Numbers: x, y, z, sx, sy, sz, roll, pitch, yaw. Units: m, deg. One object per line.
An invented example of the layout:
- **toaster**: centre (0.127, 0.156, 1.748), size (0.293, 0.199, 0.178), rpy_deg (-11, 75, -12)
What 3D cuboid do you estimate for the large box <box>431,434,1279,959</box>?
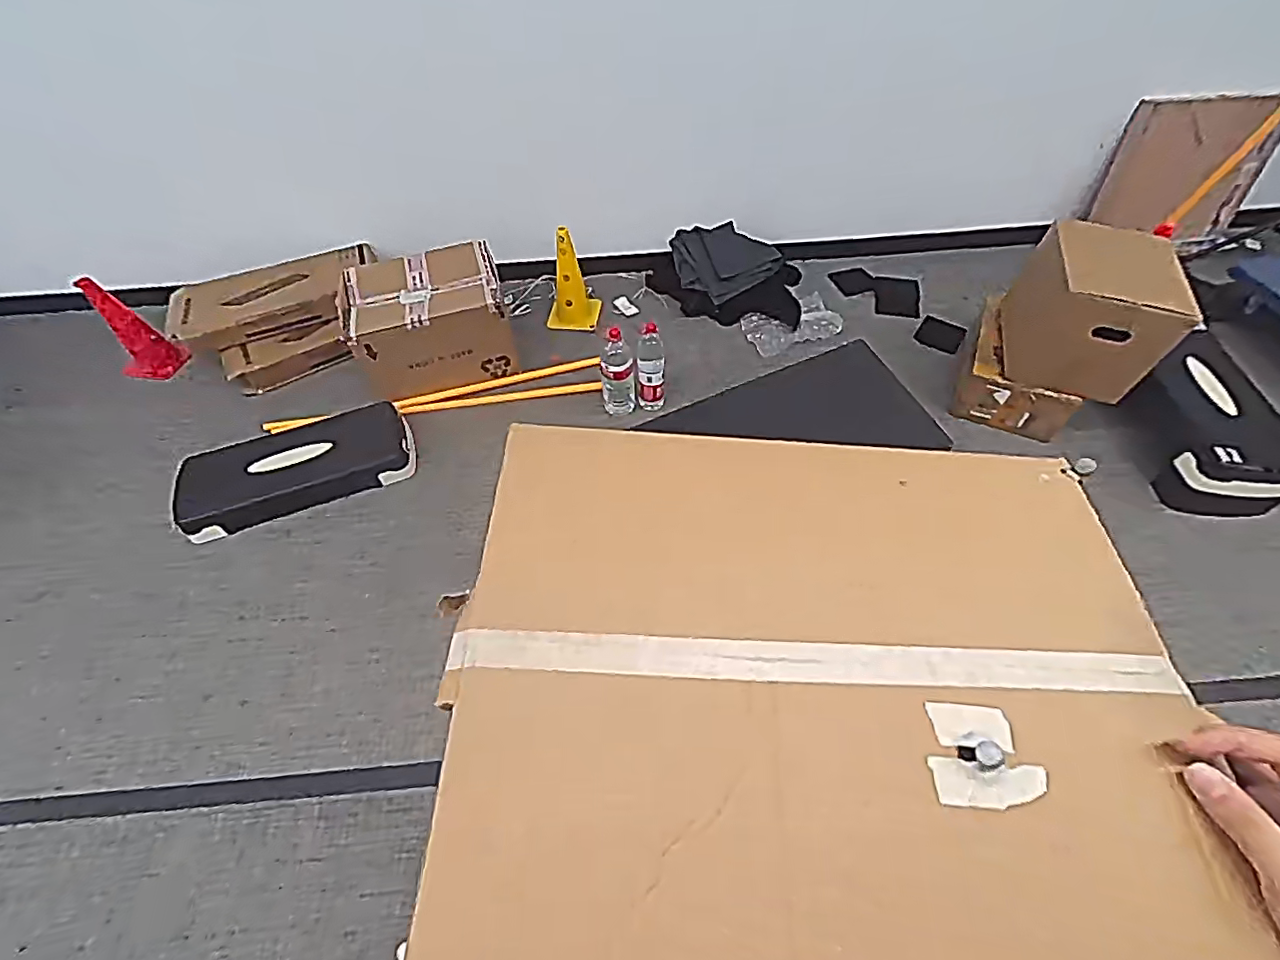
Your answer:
- **large box**: centre (0.093, 0.186, 0.438), size (0.408, 0.320, 0.320), rpy_deg (4, 57, -4)
